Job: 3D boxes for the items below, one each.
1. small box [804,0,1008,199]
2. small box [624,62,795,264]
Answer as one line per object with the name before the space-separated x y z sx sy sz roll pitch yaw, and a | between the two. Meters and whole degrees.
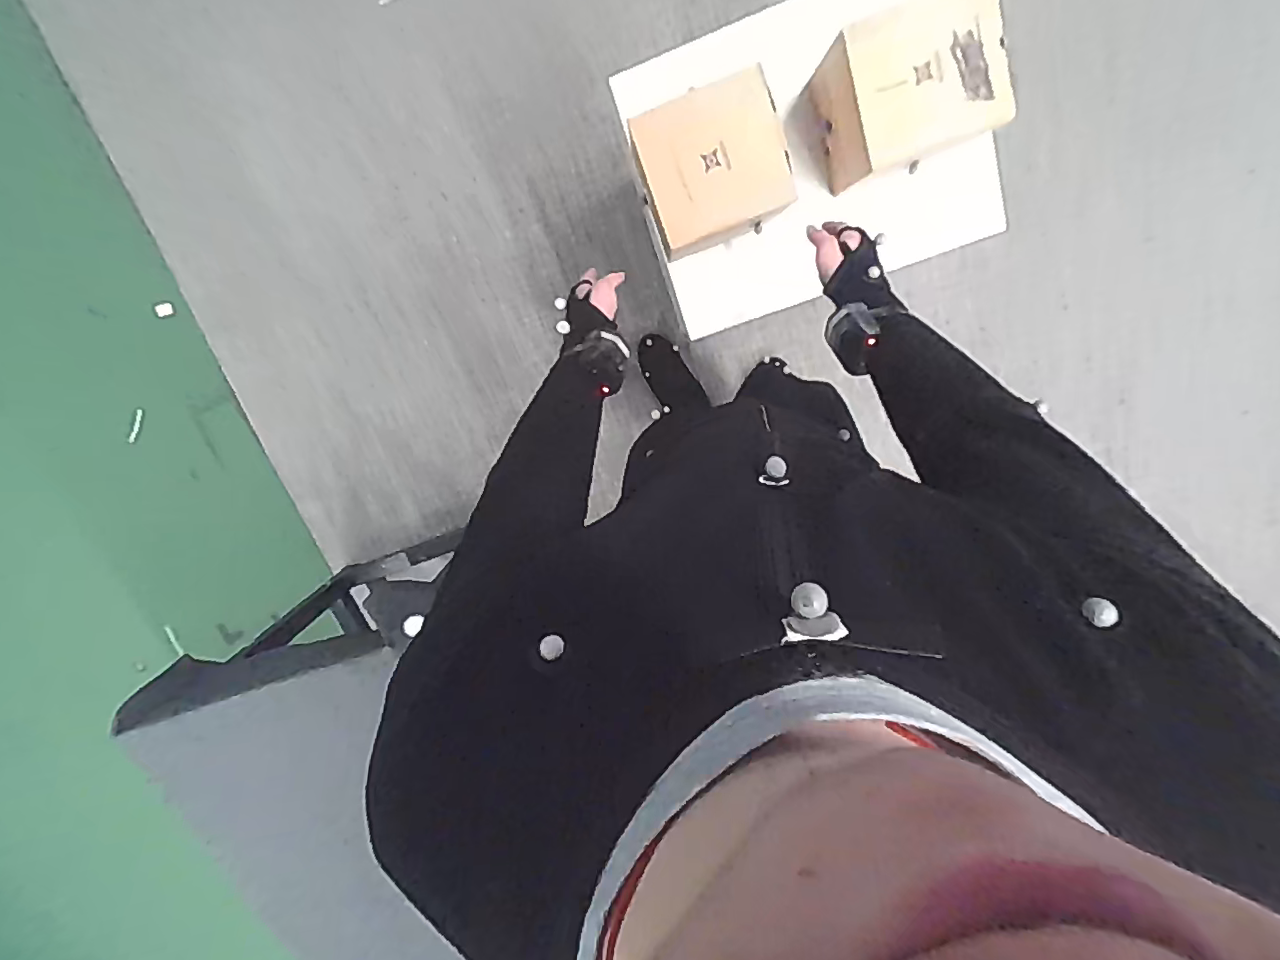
small box | 0.337 -0.496 0.712 0.179 0.176 0.168 -17 105 7
small box | 0.086 -0.414 0.740 0.179 0.176 0.168 -20 104 6
